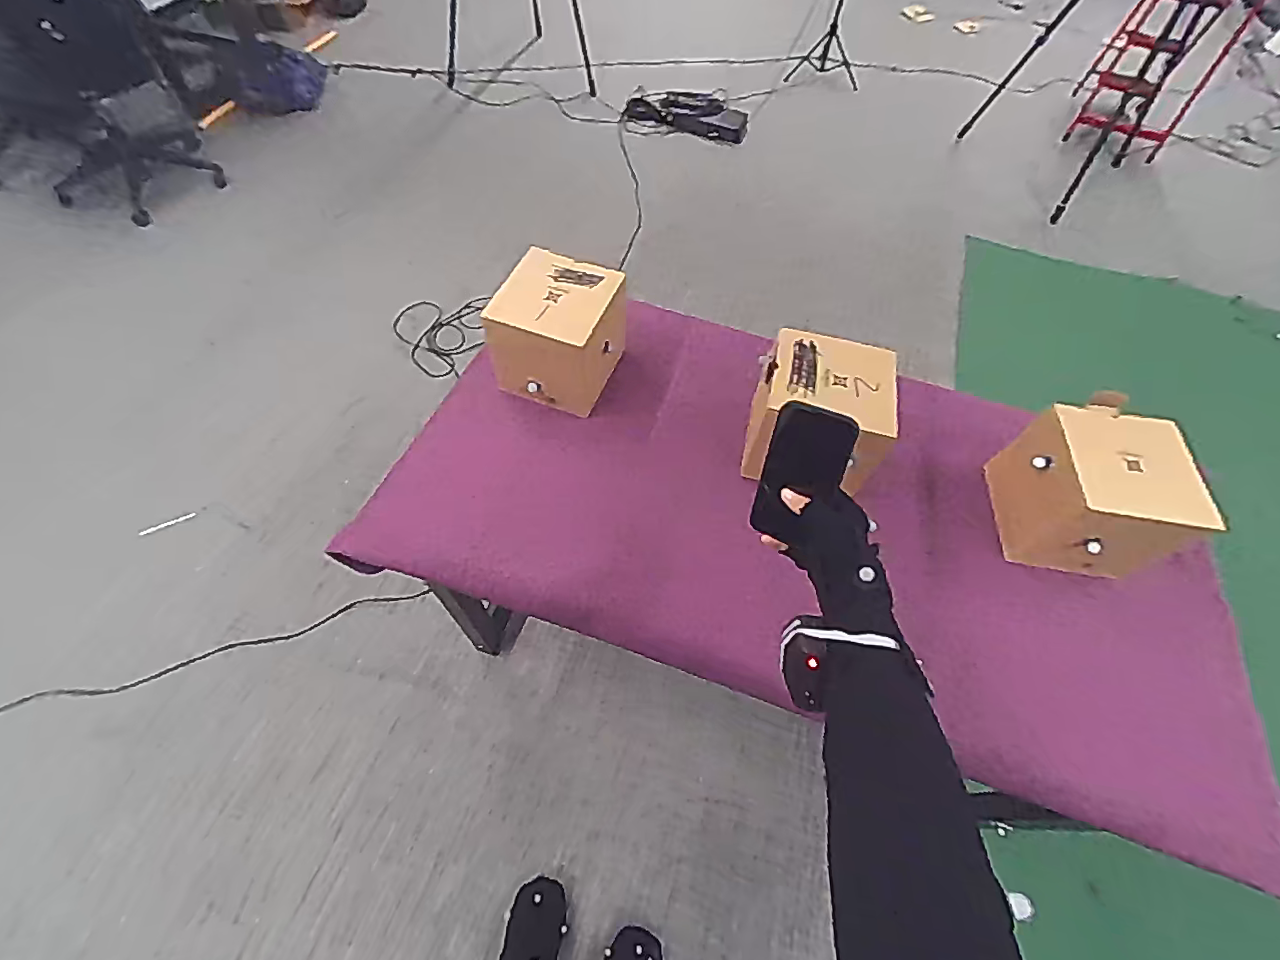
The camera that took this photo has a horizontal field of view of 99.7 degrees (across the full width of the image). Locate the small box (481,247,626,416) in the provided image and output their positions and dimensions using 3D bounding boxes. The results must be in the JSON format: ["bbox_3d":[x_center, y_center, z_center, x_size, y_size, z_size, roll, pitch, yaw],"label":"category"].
[{"bbox_3d":[-0.132,-0.237,0.879,0.168,0.176,0.179,19,60,8],"label":"small box"}]

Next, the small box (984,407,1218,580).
[{"bbox_3d":[0.631,0.025,0.771,0.168,0.176,0.179,9,57,2],"label":"small box"}]
